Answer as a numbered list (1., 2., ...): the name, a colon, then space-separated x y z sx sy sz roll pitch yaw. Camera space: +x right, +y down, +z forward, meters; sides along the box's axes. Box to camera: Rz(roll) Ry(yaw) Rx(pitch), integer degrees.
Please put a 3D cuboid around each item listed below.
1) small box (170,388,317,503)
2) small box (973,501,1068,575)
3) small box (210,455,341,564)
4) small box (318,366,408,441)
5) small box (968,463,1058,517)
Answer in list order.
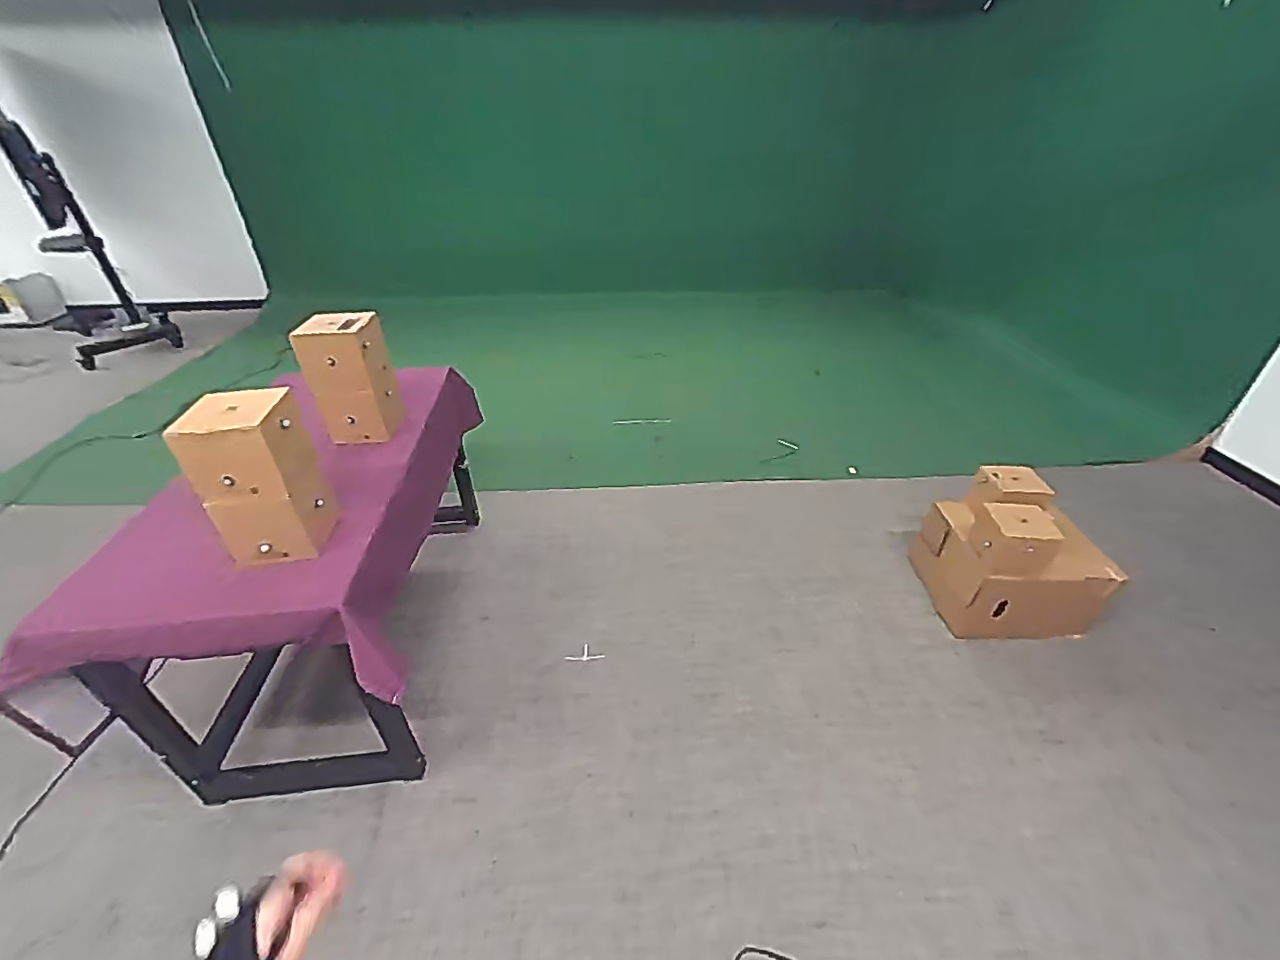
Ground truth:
1. small box: -0.799 -0.073 1.116 0.168 0.176 0.179 -6 36 -7
2. small box: 1.191 0.184 1.717 0.179 0.176 0.168 3 36 3
3. small box: -0.794 0.063 1.205 0.168 0.176 0.179 -6 36 -6
4. small box: -0.819 -0.226 1.621 0.168 0.176 0.179 -1 35 -1
5. small box: 1.301 0.057 1.900 0.179 0.176 0.168 3 34 2
